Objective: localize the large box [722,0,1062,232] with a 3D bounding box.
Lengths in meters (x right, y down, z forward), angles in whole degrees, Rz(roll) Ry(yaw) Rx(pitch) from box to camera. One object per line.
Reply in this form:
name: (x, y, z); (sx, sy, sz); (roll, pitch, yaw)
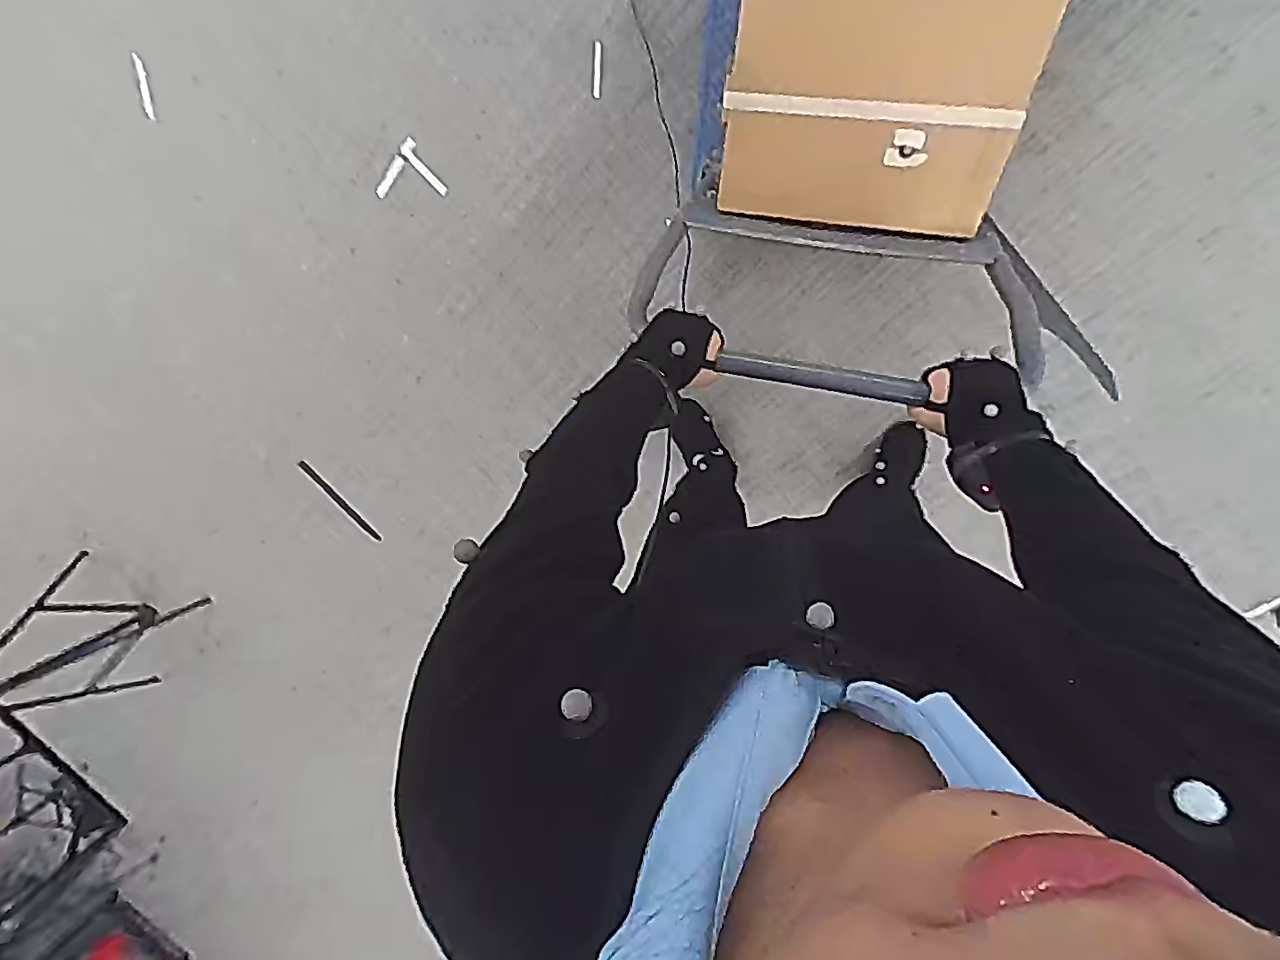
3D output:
large box: (0.370, -0.631, 0.902); (0.408, 0.320, 0.320); (11, 130, 10)
